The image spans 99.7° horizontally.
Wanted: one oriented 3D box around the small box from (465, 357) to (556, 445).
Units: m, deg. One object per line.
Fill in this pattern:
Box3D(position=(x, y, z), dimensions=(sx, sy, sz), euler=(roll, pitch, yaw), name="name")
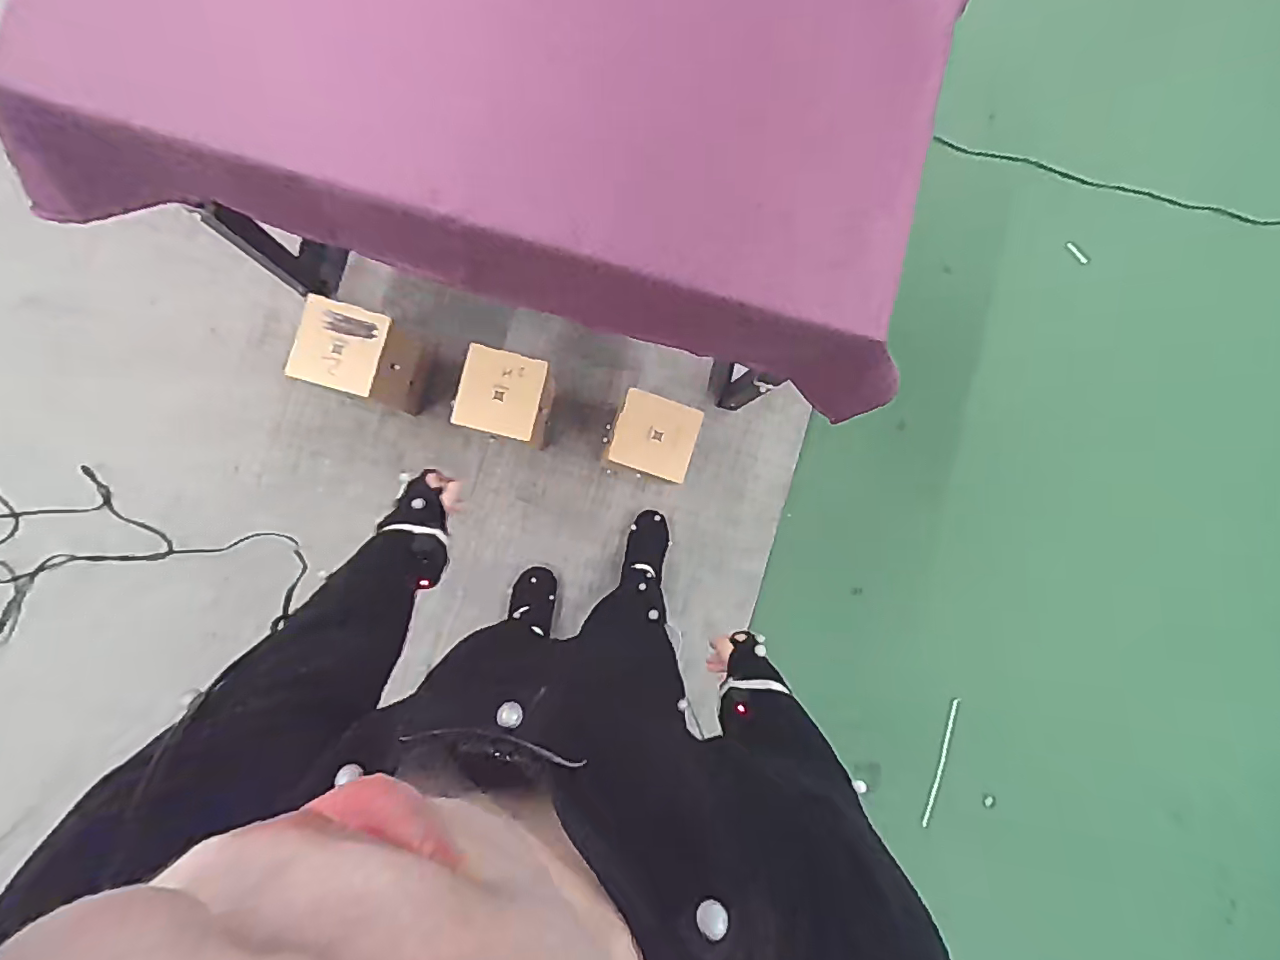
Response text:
Box3D(position=(-0.321, -0.192, 1.370), dimensions=(0.179, 0.176, 0.168), euler=(16, 87, -6), name="small box")
